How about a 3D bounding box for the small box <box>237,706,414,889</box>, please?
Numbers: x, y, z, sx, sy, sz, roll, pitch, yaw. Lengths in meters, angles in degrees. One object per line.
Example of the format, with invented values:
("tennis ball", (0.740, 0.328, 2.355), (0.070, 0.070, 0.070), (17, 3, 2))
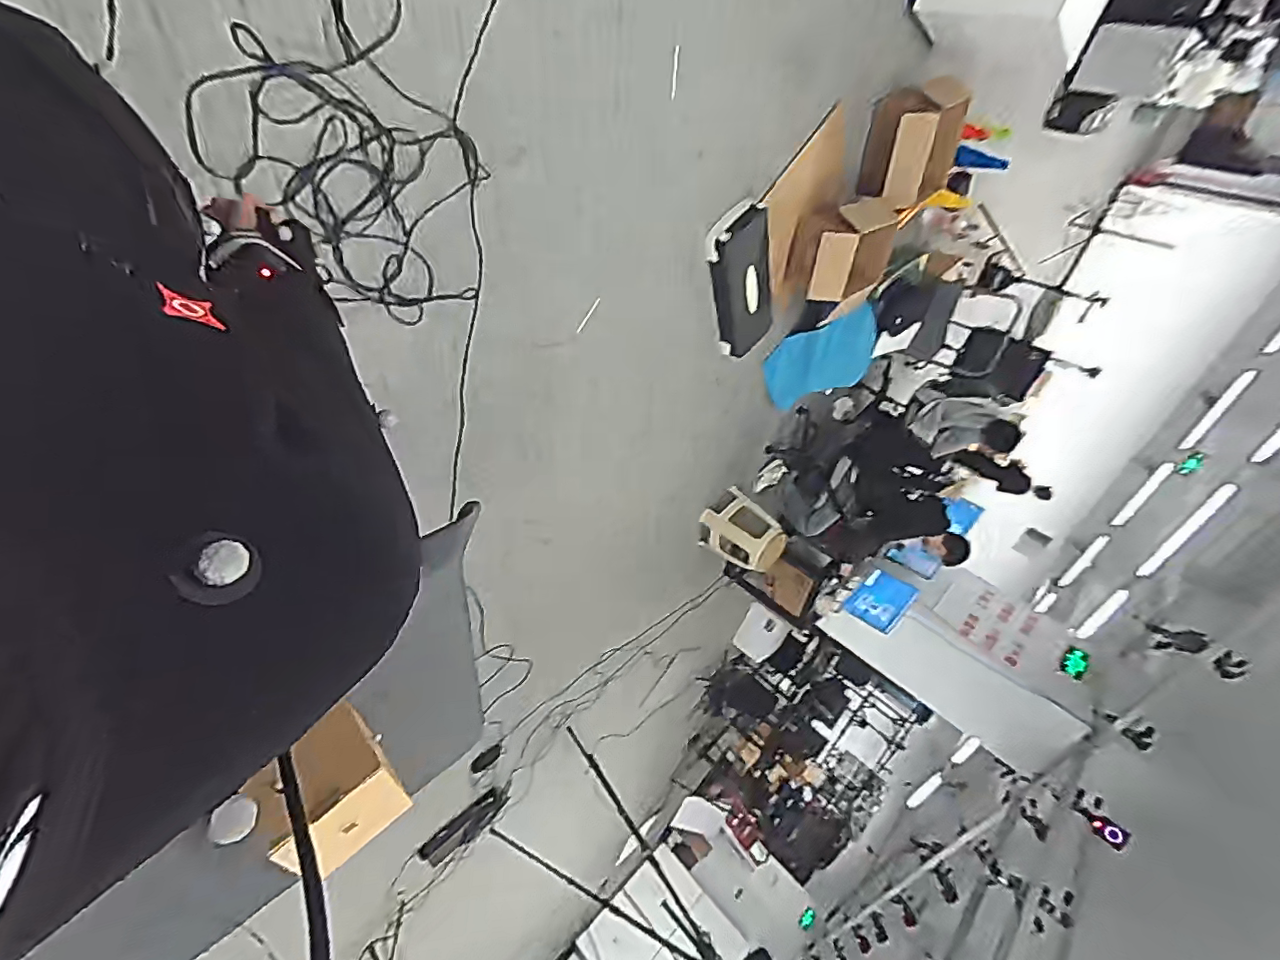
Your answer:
("small box", (-0.498, 0.497, 0.865), (0.168, 0.176, 0.179), (-33, 144, -31))
